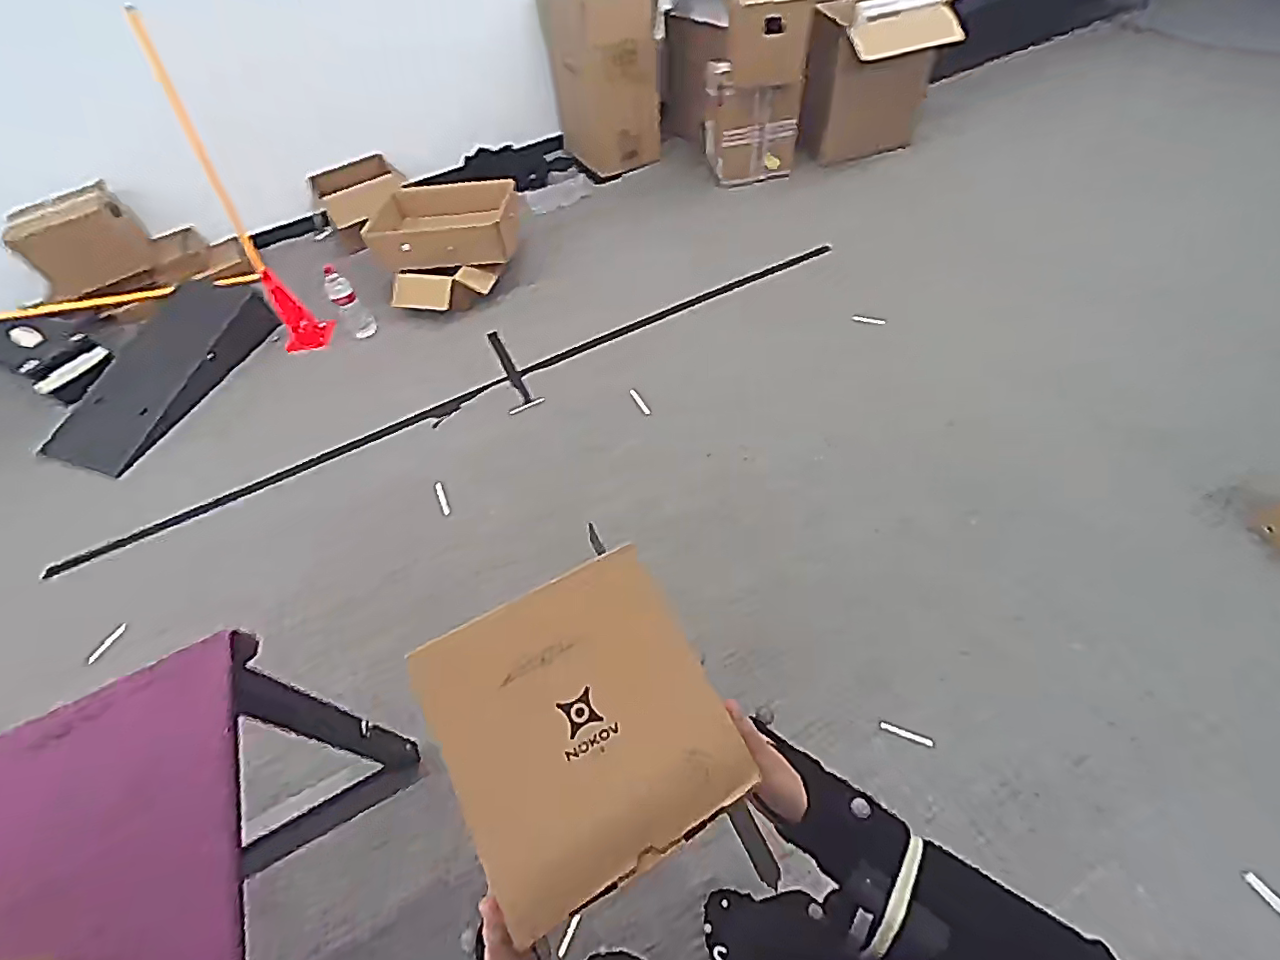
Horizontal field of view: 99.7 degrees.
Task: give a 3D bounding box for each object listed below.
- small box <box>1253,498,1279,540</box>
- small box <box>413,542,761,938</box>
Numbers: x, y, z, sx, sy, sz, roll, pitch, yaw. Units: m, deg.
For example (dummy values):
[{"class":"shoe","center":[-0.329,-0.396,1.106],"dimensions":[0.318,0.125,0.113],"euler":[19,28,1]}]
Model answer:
[{"class":"small box","center":[1.815,0.087,1.434],"dimensions":[0.179,0.176,0.168],"euler":[-27,55,-12]},{"class":"small box","center":[-0.041,0.177,0.411],"dimensions":[0.168,0.176,0.179],"euler":[-26,71,-16]}]
